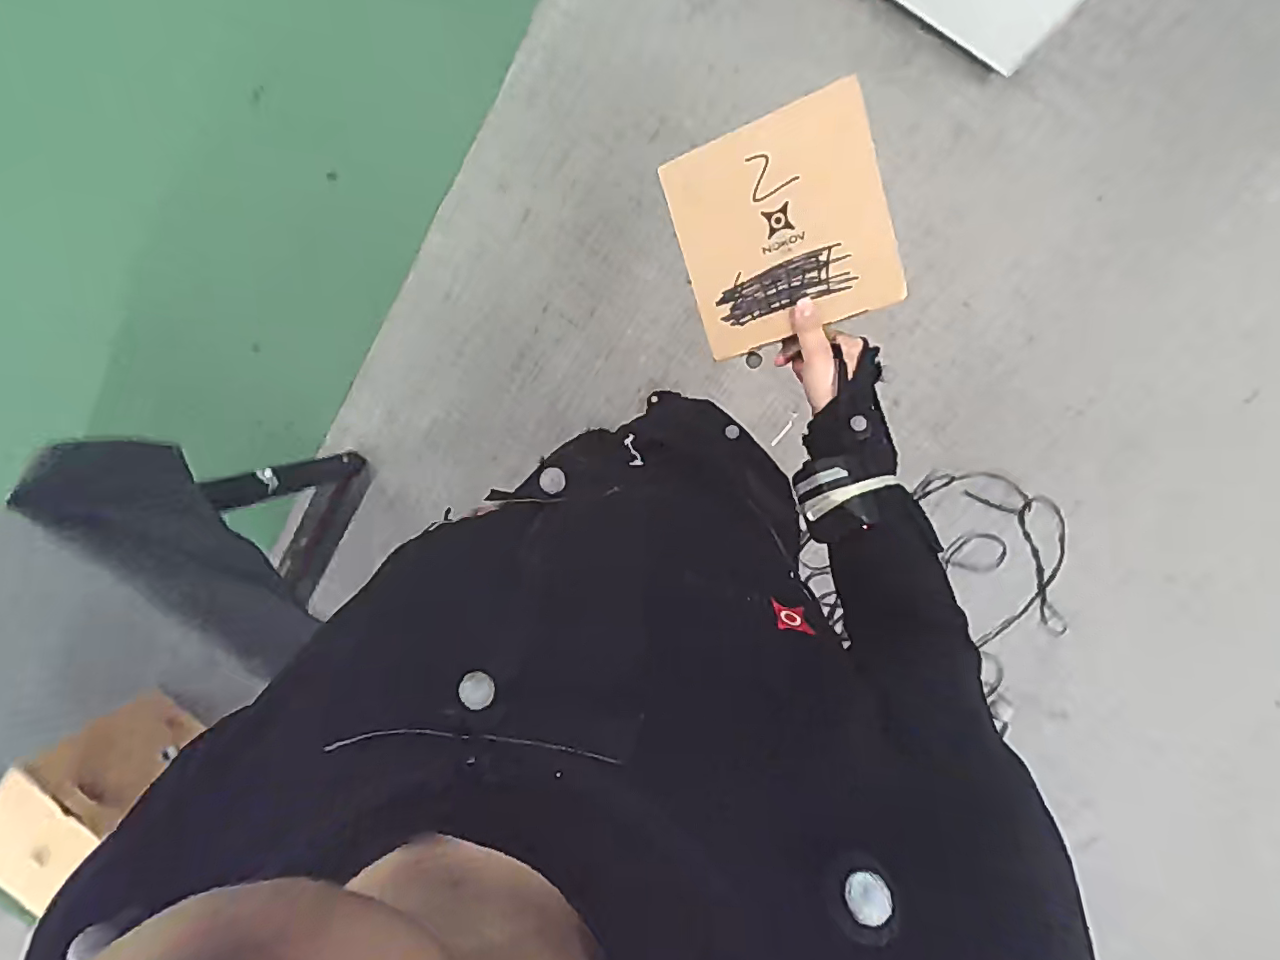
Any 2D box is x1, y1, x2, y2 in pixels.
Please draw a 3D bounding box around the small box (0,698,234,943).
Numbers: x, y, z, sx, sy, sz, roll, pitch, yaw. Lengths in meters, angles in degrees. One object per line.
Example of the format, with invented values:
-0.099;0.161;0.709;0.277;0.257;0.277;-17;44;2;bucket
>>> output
-0.695;0.435;0.715;0.168;0.176;0.179;39;103;0;small box
